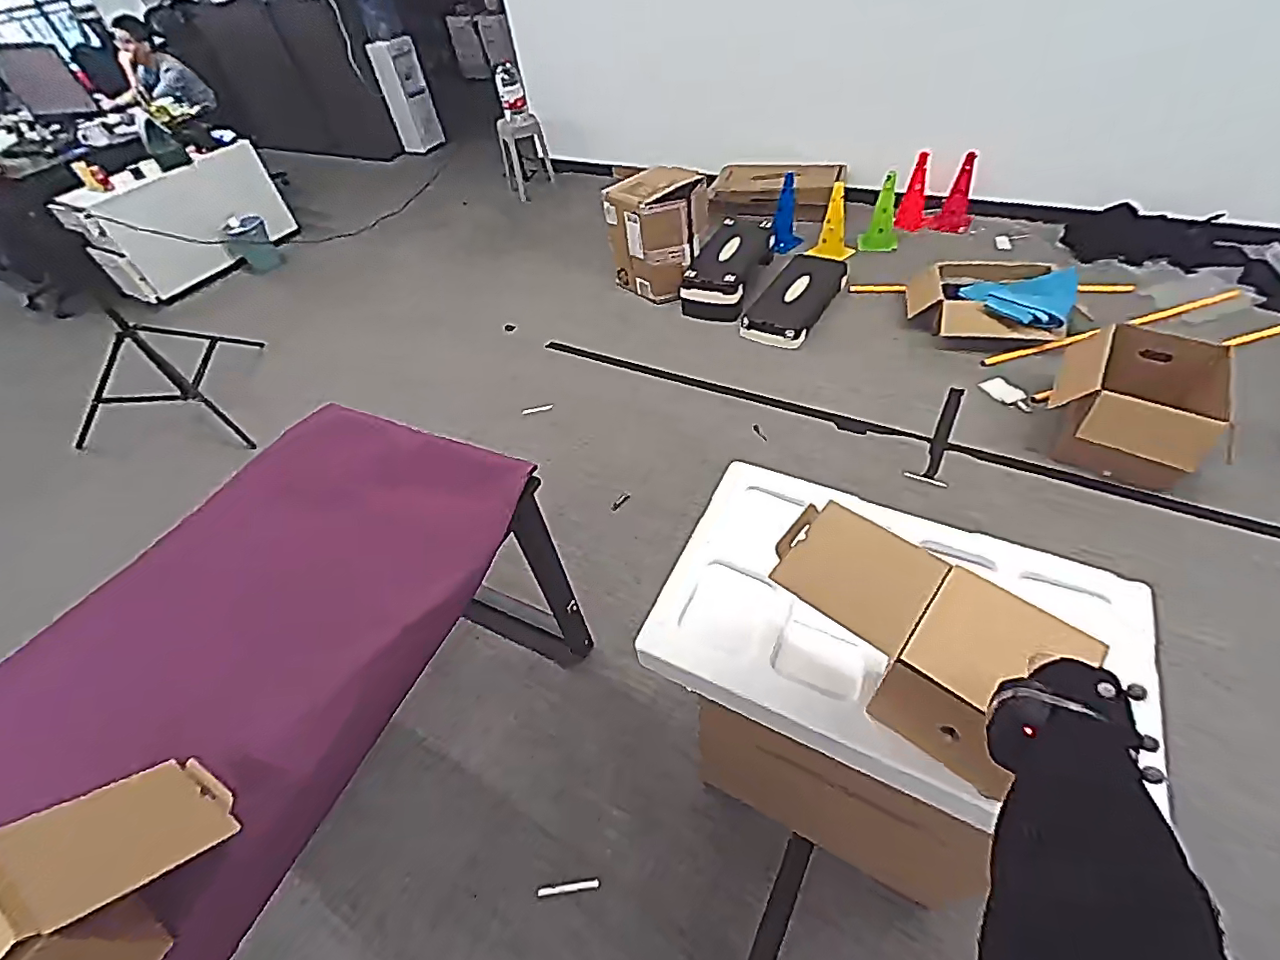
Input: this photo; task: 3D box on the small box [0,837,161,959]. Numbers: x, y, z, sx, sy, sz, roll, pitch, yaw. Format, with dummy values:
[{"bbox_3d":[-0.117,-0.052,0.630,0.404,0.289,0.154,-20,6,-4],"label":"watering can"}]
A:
[{"bbox_3d":[-0.651,0.509,0.551,0.168,0.176,0.179,20,54,24],"label":"small box"}]
